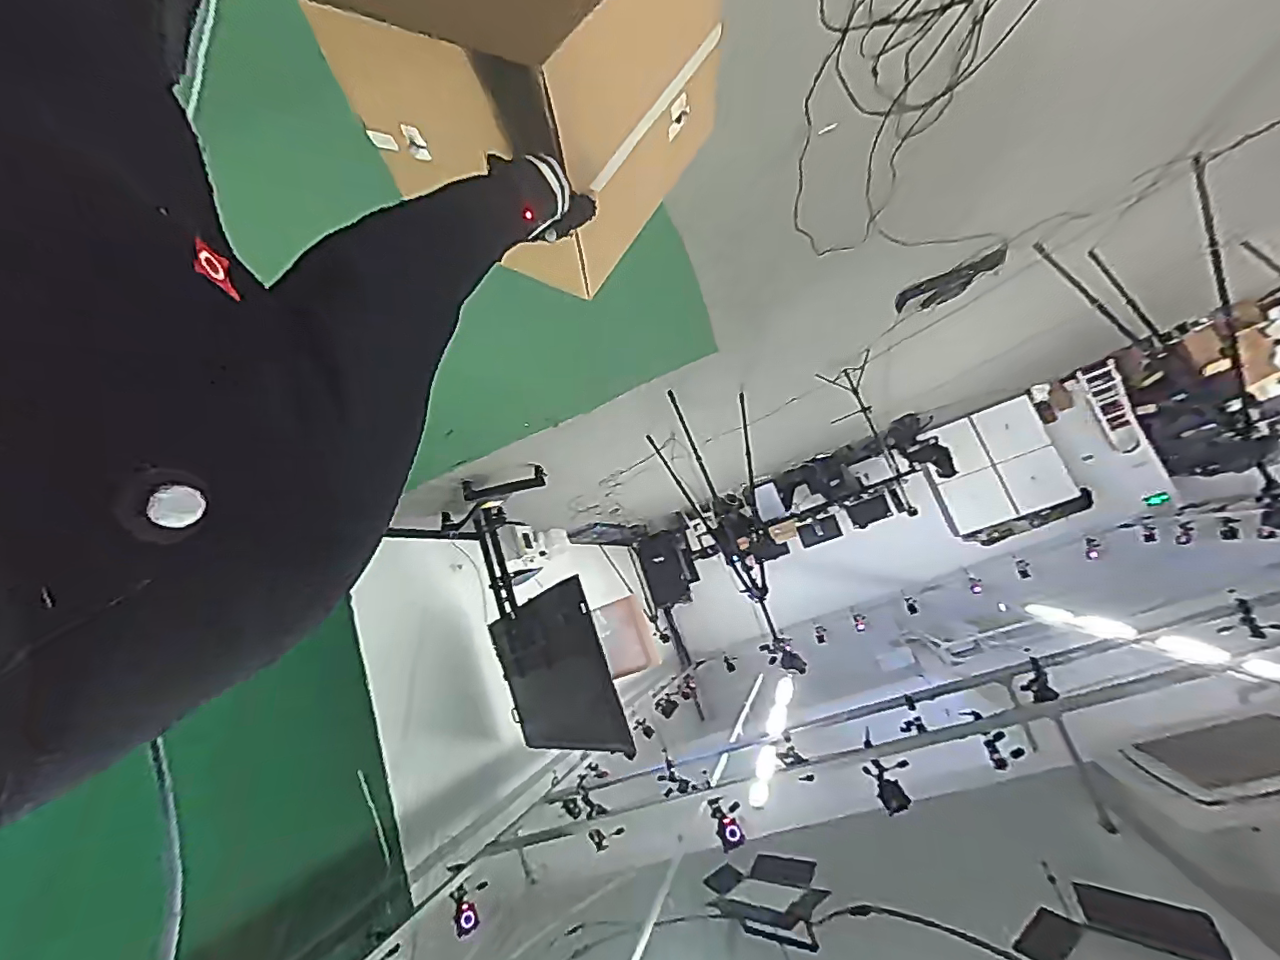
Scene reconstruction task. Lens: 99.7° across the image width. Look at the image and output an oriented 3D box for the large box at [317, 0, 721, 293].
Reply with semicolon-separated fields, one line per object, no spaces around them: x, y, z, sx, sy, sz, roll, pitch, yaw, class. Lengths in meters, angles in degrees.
-0.119;-0.547;0.736;0.408;0.320;0.320;-60;166;-18;large box
